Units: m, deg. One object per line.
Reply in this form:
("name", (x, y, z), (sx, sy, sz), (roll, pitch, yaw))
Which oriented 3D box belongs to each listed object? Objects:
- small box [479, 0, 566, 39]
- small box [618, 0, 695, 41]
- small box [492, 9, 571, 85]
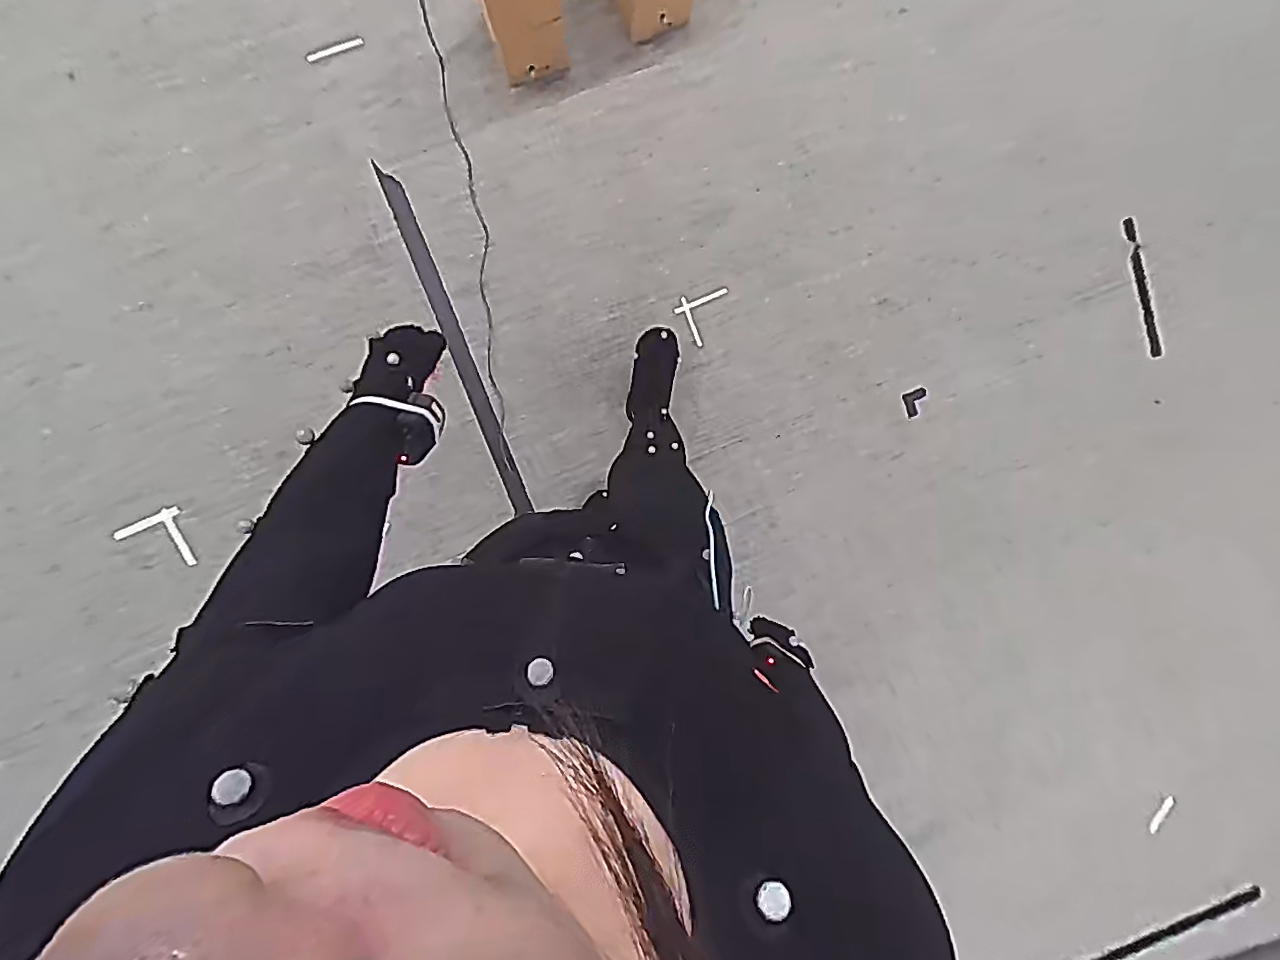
("small box", (-0.264, -1.057, 1.100), (0.179, 0.176, 0.168), (-23, 97, -1))
("small box", (0.030, -1.199, 1.268), (0.168, 0.176, 0.179), (-23, 98, -1))
("small box", (-0.267, -1.079, 1.261), (0.168, 0.176, 0.179), (-20, 98, -1))
